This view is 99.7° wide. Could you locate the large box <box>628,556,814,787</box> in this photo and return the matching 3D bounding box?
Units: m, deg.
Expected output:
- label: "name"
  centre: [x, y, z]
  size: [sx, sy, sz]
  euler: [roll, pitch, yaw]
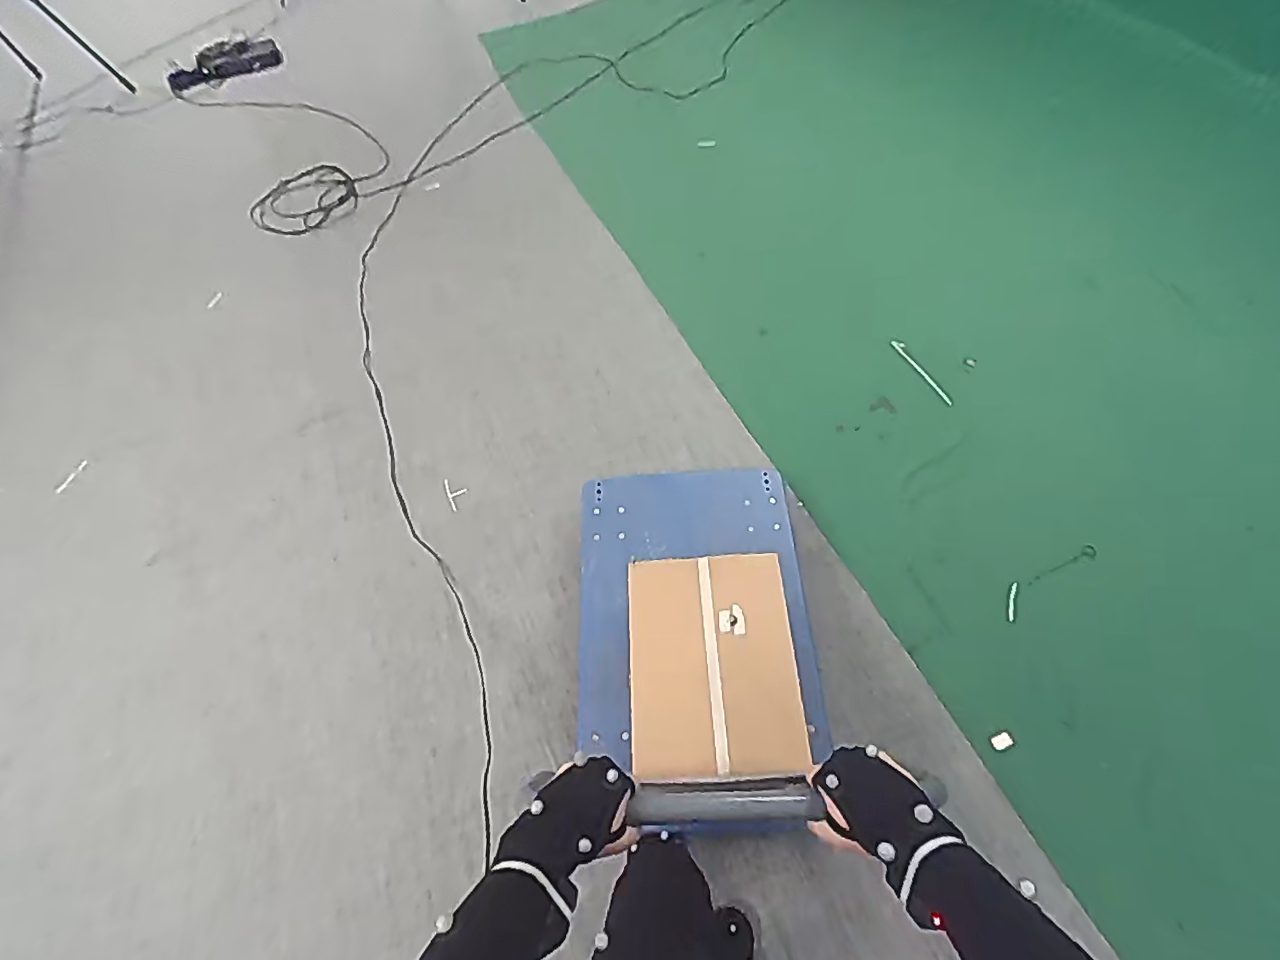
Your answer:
- label: "large box"
  centre: [0.150, 0.415, 1.156]
  size: [0.320, 0.320, 0.408]
  euler: [-4, 59, 2]
